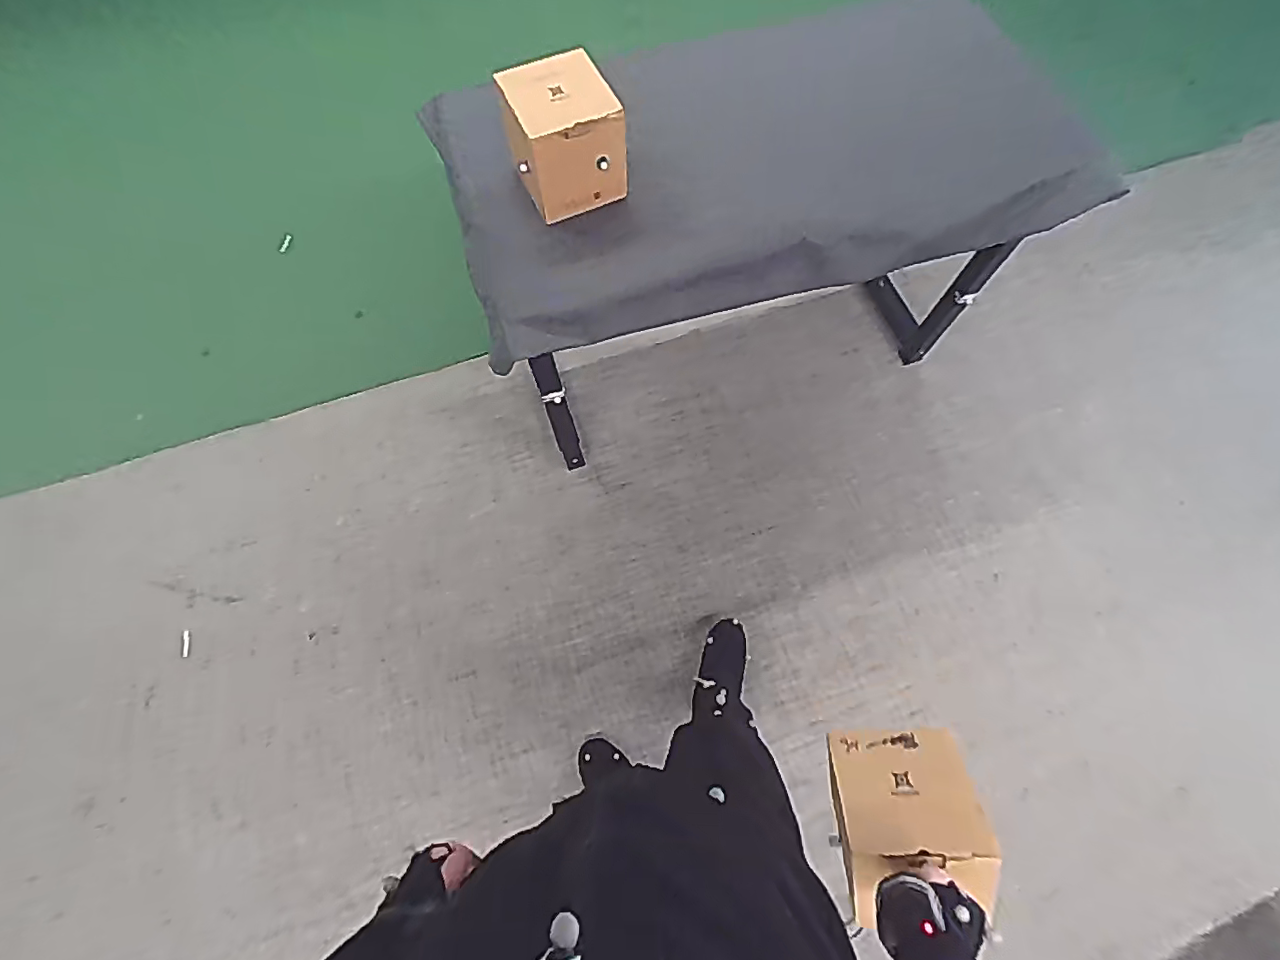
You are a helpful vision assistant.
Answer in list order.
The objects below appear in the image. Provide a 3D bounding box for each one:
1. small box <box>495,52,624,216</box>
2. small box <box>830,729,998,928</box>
[{"bbox_3d":[-0.133,-0.600,0.960,0.168,0.176,0.179,-24,70,-11],"label":"small box"},{"bbox_3d":[0.364,0.473,0.744,0.168,0.176,0.179,-6,26,13],"label":"small box"}]
